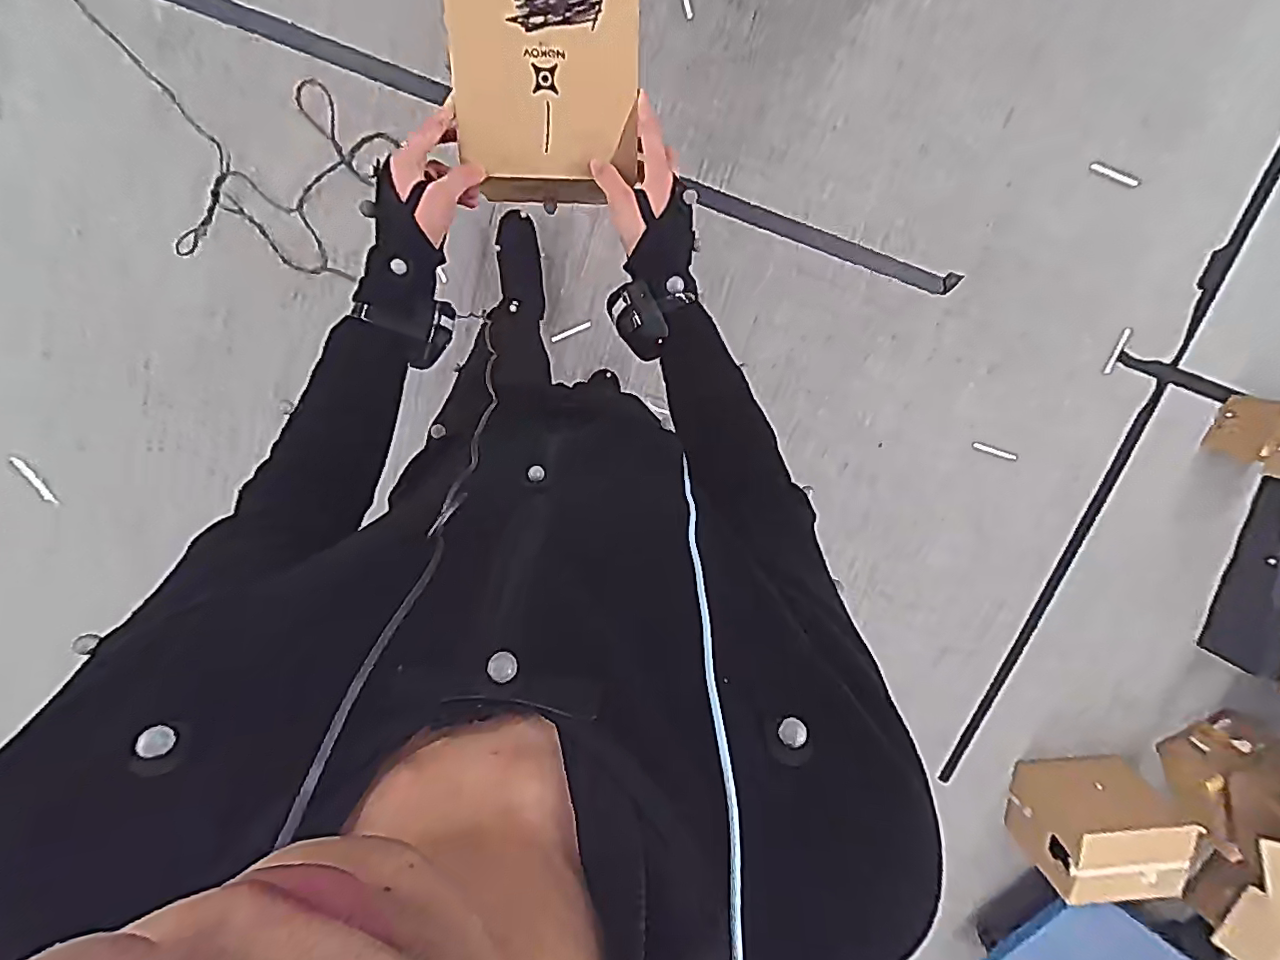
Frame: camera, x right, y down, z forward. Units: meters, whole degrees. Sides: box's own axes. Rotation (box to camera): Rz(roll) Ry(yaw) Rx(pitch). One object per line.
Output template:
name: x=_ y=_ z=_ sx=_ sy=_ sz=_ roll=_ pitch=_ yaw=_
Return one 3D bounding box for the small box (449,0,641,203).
small box: x=-0.090 y=-0.393 z=0.549 sx=0.168 sy=0.176 sz=0.179 roll=-1 pitch=110 yaw=-6
